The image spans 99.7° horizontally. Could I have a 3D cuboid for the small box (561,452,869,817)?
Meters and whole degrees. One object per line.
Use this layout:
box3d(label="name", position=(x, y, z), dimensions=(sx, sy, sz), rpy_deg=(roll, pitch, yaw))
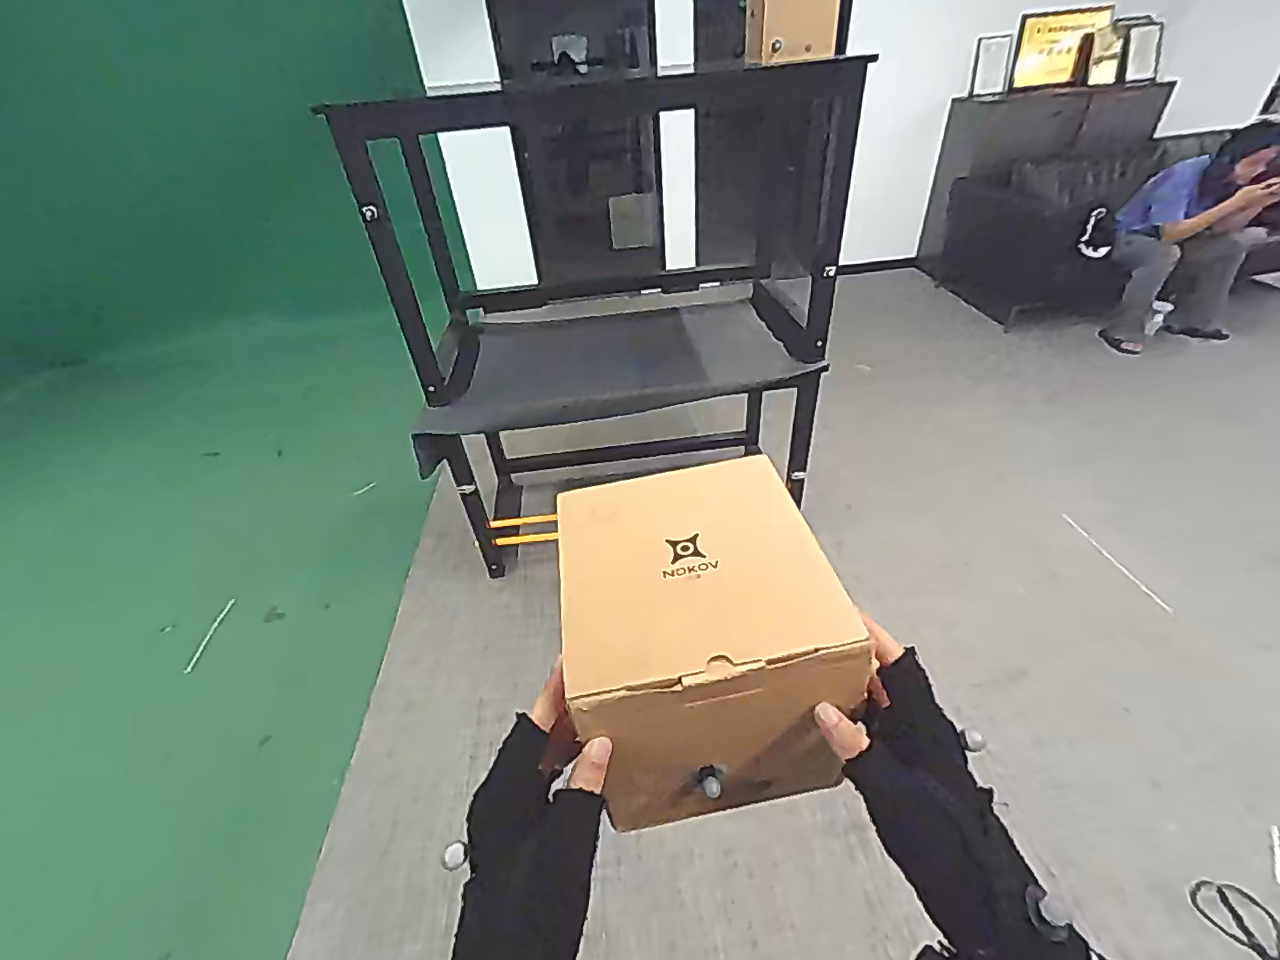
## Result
box3d(label="small box", position=(0.039, 0.106, 0.395), dimensions=(0.168, 0.176, 0.179), rpy_deg=(-11, 37, -2))

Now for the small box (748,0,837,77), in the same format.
box3d(label="small box", position=(0.347, -1.046, 1.247), dimensions=(0.168, 0.176, 0.179), rpy_deg=(-5, 37, 0))
